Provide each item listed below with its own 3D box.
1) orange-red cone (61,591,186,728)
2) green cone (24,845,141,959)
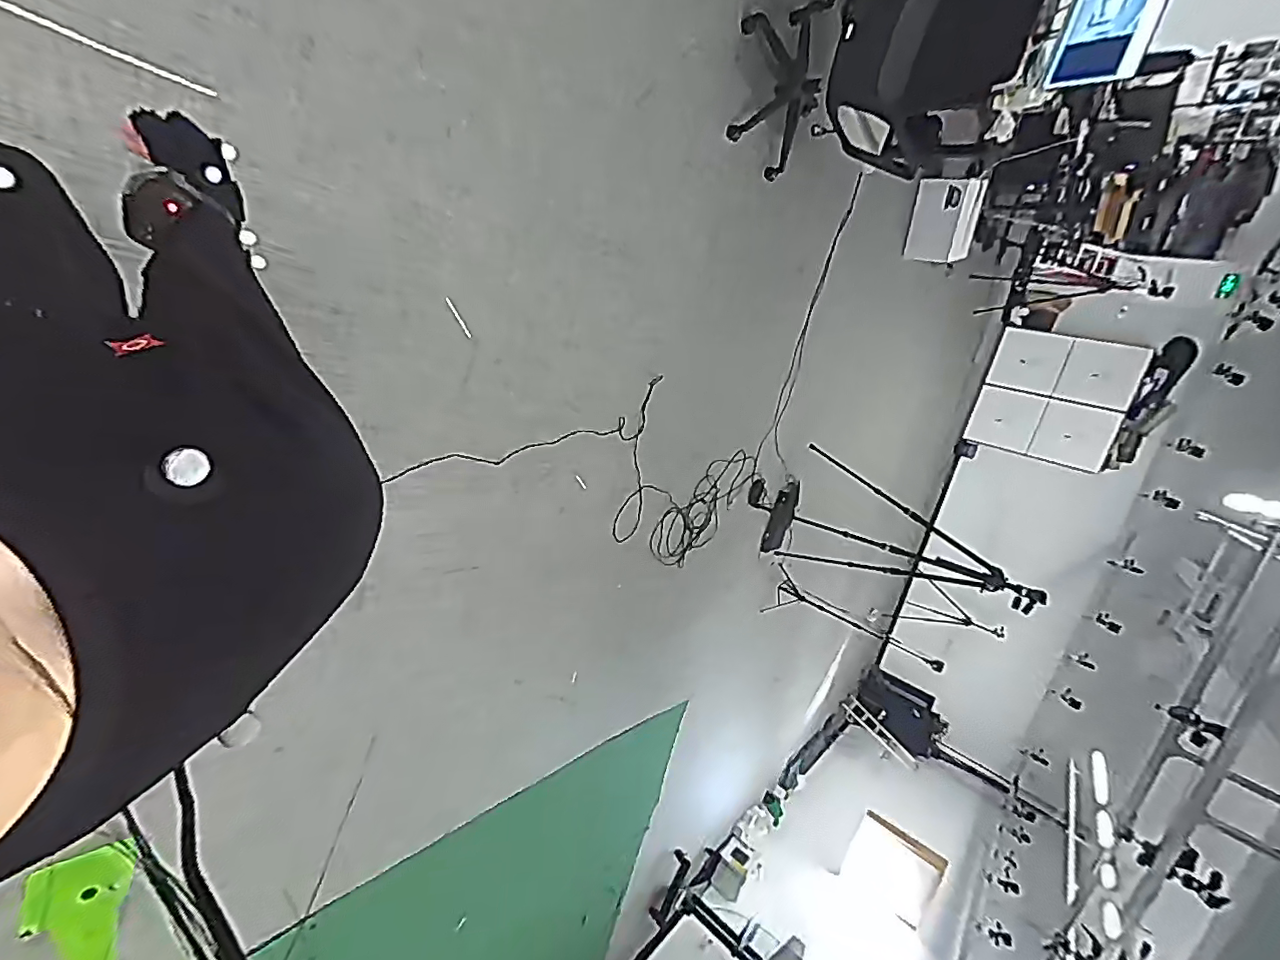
[{"bbox_3d":[-1.078,0.411,1.162,0.198,0.360,0.199,7,105,-52],"label":"orange-red cone"},{"bbox_3d":[-1.285,1.104,1.275,0.200,0.368,0.202,3,105,-53],"label":"green cone"}]
